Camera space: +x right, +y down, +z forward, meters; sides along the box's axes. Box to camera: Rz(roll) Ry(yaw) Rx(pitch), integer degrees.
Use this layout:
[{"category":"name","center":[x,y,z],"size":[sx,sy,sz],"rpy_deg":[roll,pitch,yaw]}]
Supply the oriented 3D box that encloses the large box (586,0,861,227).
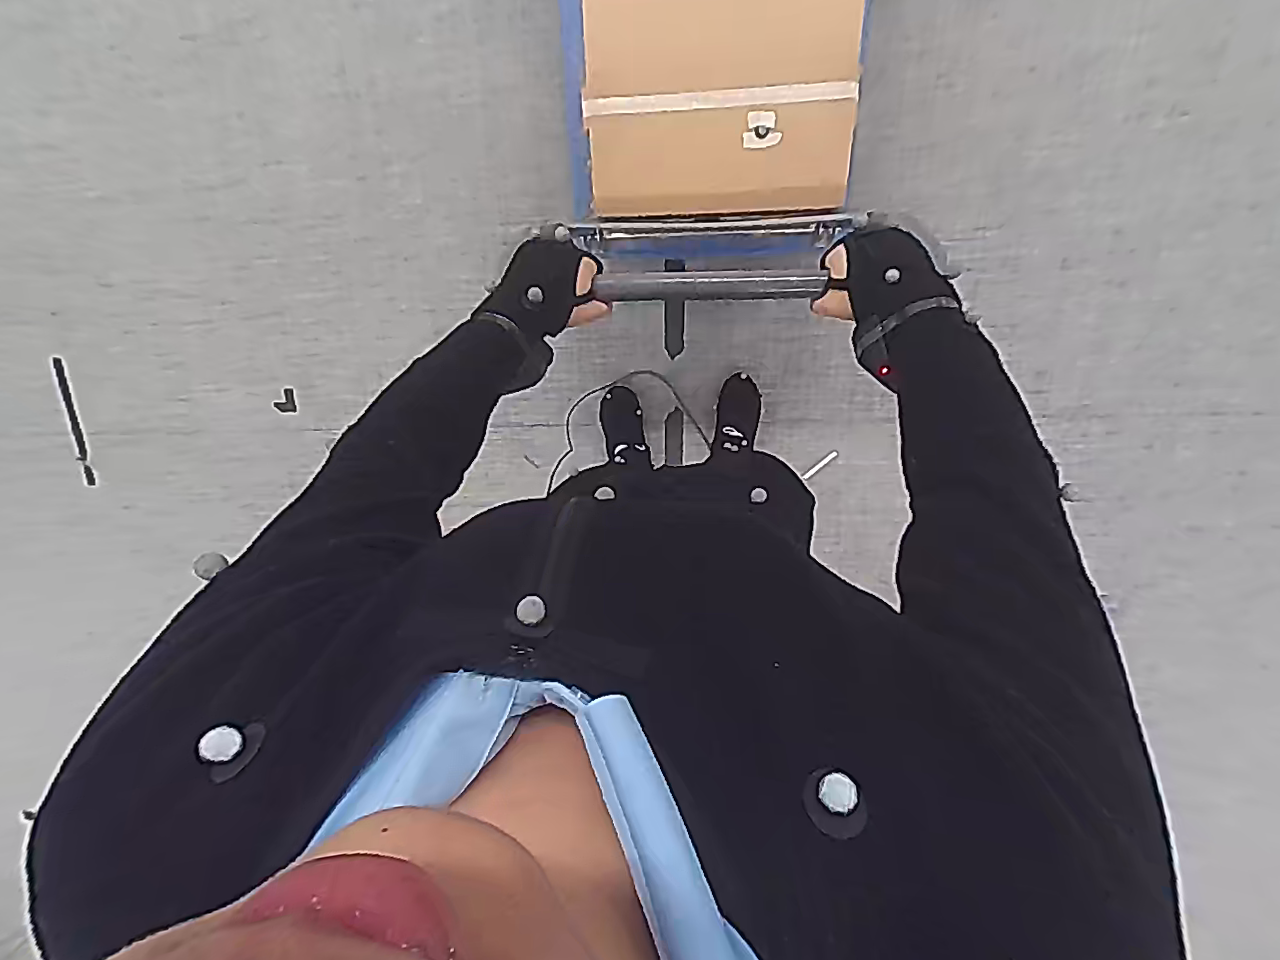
[{"category":"large box","center":[0.136,-0.641,0.970],"size":[0.408,0.320,0.320],"rpy_deg":[0,113,6]}]
